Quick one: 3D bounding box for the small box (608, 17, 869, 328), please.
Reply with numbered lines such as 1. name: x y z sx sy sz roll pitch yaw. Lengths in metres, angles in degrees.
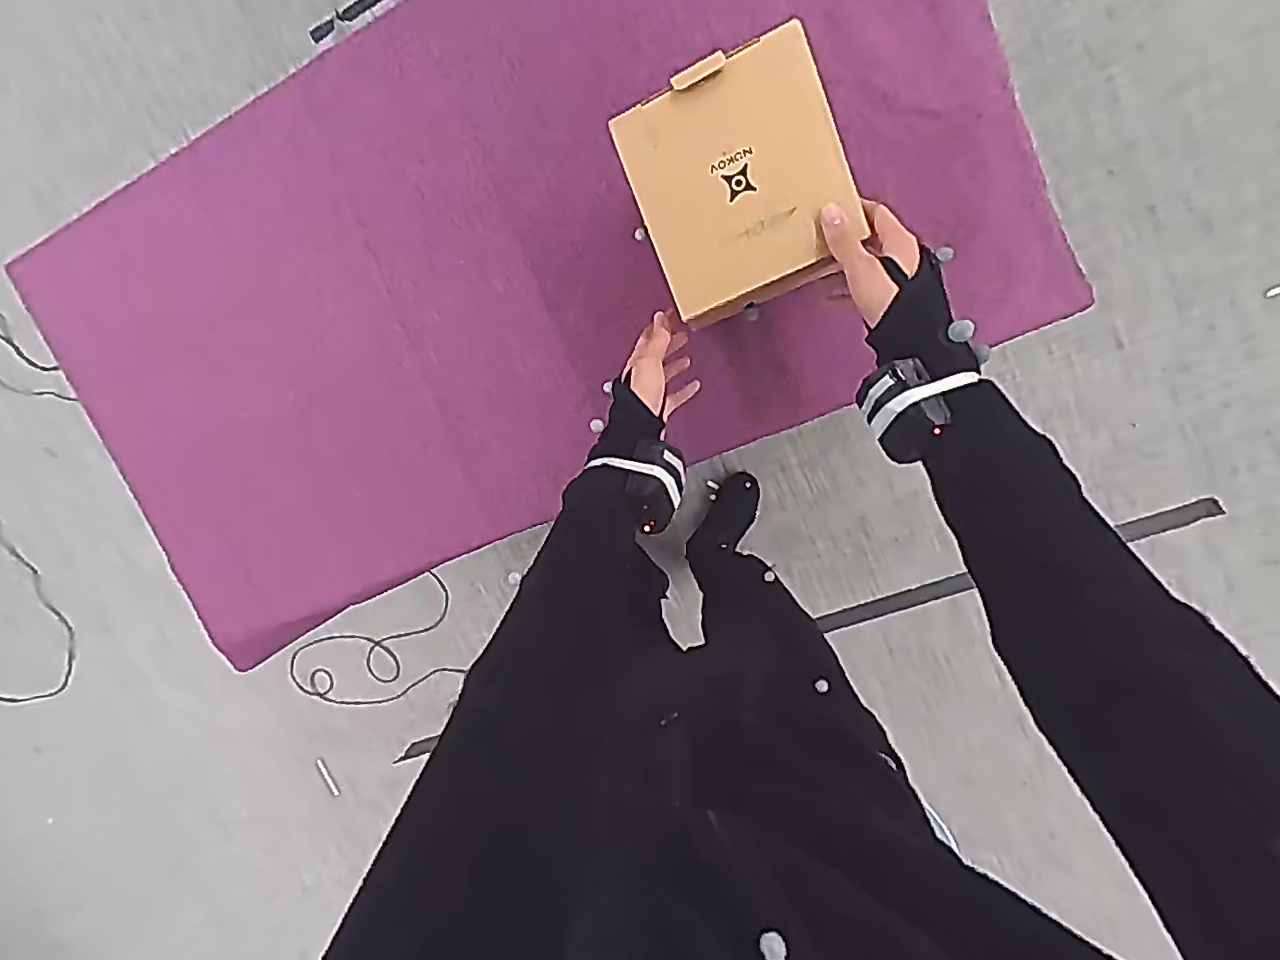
1. small box: 0.089 -0.259 0.510 0.168 0.176 0.179 -20 98 13
